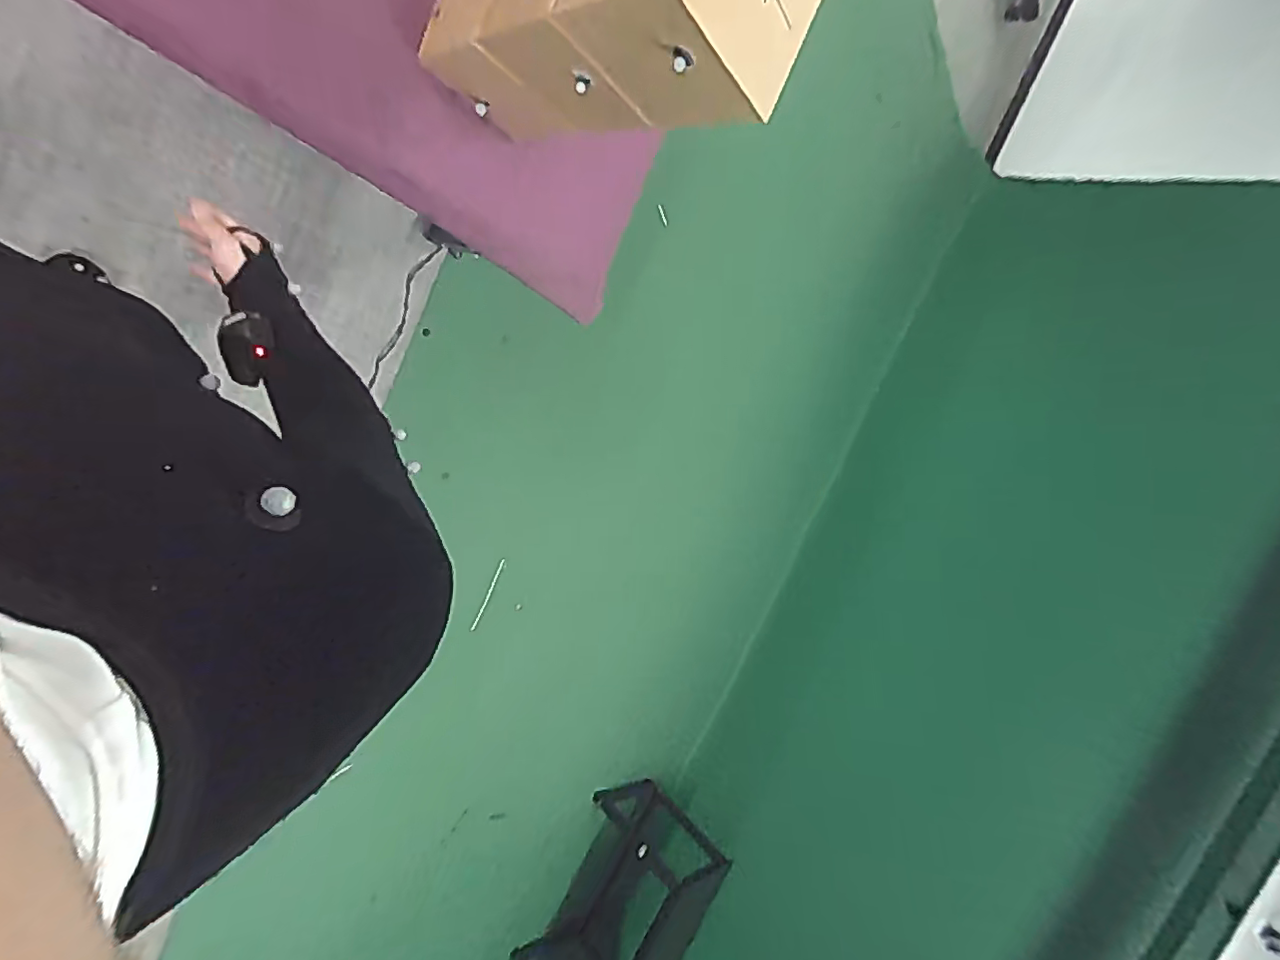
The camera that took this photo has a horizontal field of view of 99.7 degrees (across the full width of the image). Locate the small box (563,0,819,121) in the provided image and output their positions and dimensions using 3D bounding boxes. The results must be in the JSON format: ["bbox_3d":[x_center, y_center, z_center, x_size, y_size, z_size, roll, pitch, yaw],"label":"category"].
[{"bbox_3d":[0.054,-0.488,0.538,0.179,0.176,0.168,16,102,-49],"label":"small box"}]

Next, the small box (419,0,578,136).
[{"bbox_3d":[-0.168,-0.610,0.746,0.179,0.176,0.168,15,100,-49],"label":"small box"}]

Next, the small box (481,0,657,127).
[{"bbox_3d":[-0.058,-0.550,0.642,0.179,0.176,0.168,18,100,-49],"label":"small box"}]
